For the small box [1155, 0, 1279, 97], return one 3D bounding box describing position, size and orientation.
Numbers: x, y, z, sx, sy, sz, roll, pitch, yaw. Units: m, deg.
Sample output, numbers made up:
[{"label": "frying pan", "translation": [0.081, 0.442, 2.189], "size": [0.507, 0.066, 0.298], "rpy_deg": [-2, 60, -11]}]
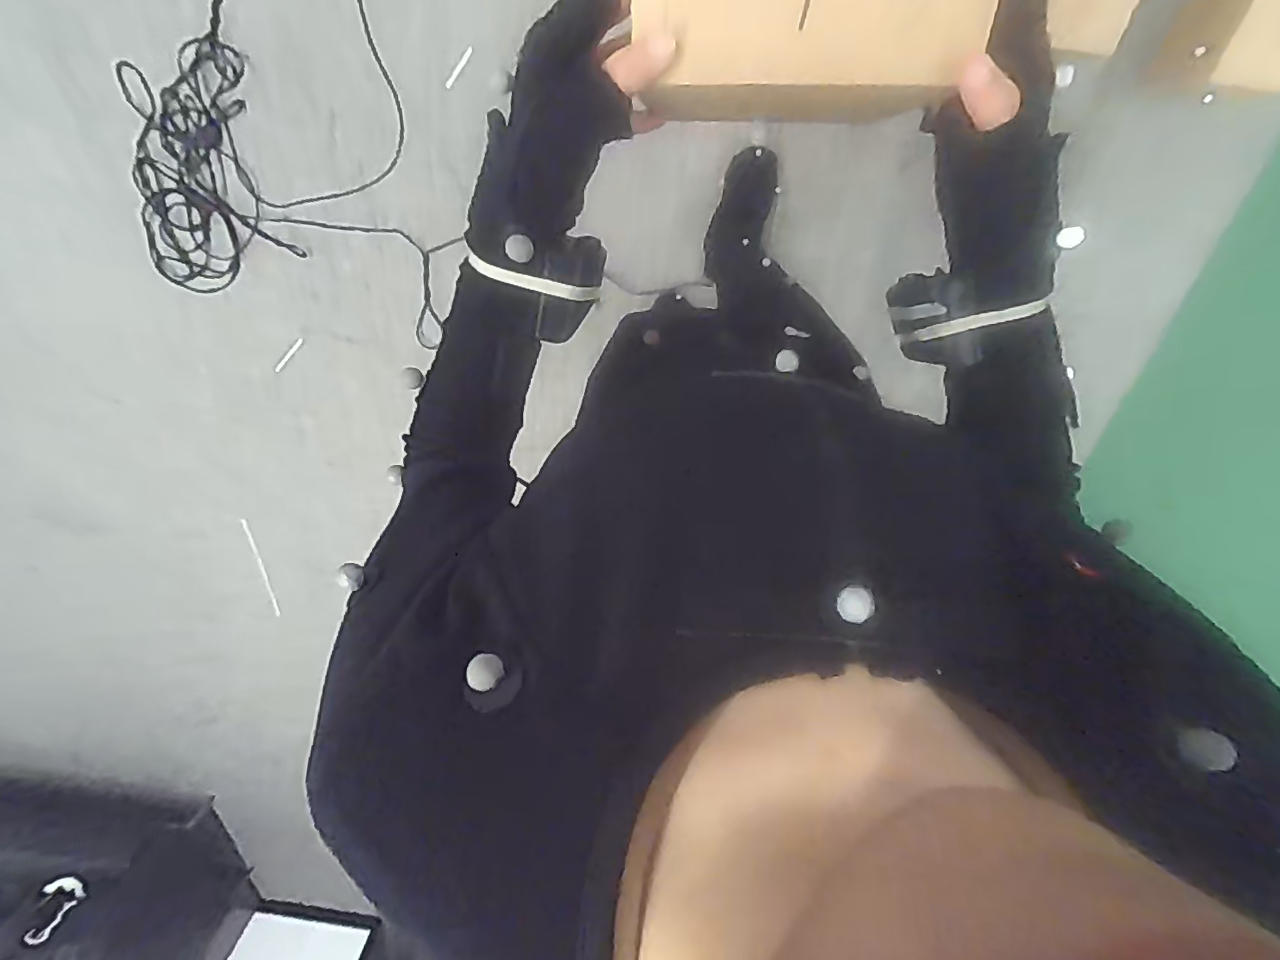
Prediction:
[{"label": "small box", "translation": [1.059, -0.777, 0.930], "size": [0.168, 0.176, 0.179], "rpy_deg": [8, 122, 1]}]
